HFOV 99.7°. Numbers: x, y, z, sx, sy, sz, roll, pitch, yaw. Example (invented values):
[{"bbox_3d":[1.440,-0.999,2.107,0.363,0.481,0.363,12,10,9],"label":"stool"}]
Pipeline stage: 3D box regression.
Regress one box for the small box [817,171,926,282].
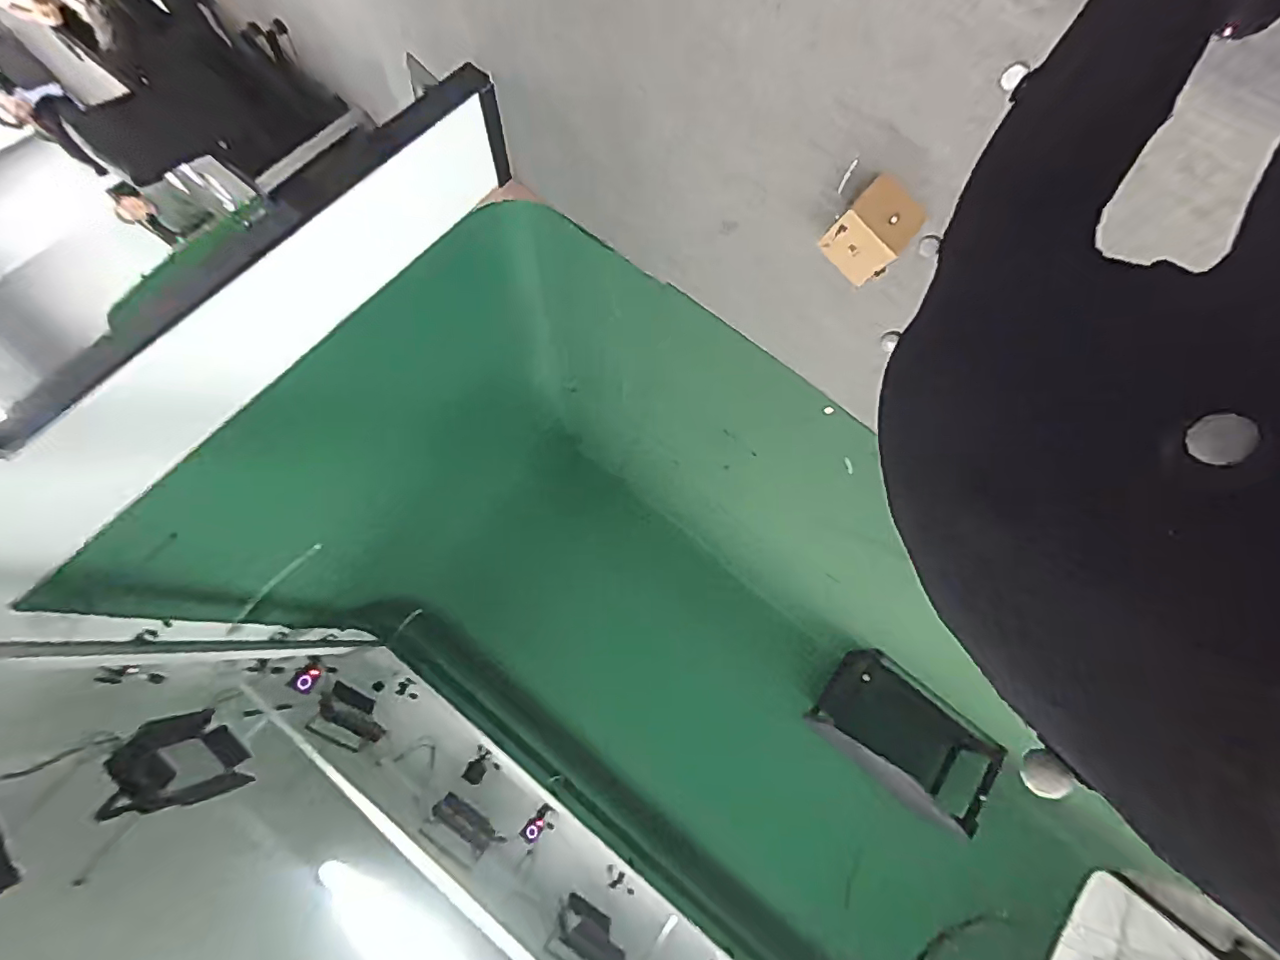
[{"bbox_3d":[0.626,-0.682,1.458,0.179,0.176,0.168,40,165,-5],"label":"small box"}]
